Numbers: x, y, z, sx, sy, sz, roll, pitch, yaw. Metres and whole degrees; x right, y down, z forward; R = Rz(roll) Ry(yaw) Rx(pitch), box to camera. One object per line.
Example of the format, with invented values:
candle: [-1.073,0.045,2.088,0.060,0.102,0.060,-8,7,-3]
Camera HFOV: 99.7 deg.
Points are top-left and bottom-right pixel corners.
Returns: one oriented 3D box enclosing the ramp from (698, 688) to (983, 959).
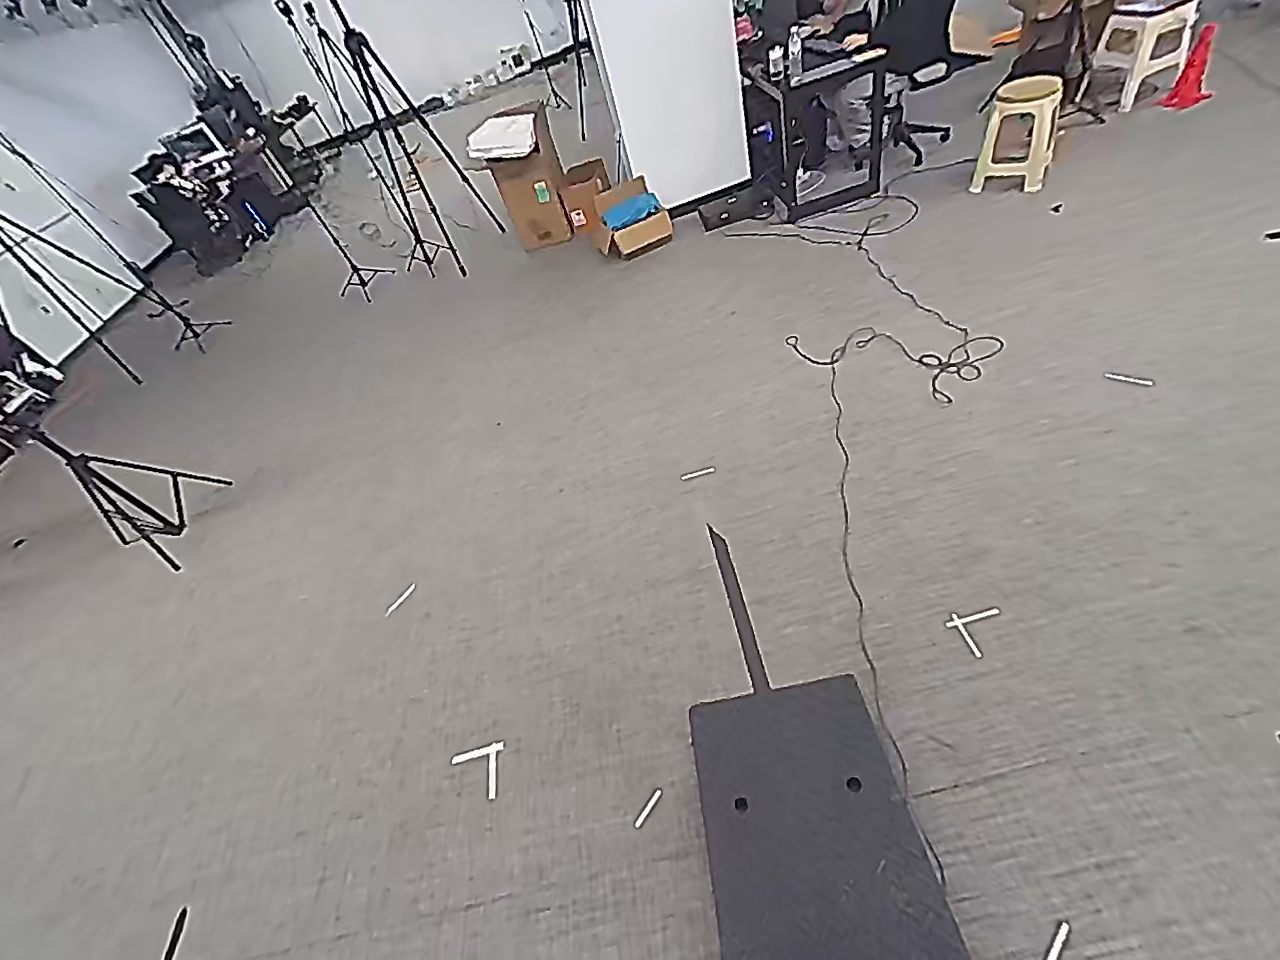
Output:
ramp: [0.431,0.945,1.173,0.509,0.206,0.991,-18,43,6]
